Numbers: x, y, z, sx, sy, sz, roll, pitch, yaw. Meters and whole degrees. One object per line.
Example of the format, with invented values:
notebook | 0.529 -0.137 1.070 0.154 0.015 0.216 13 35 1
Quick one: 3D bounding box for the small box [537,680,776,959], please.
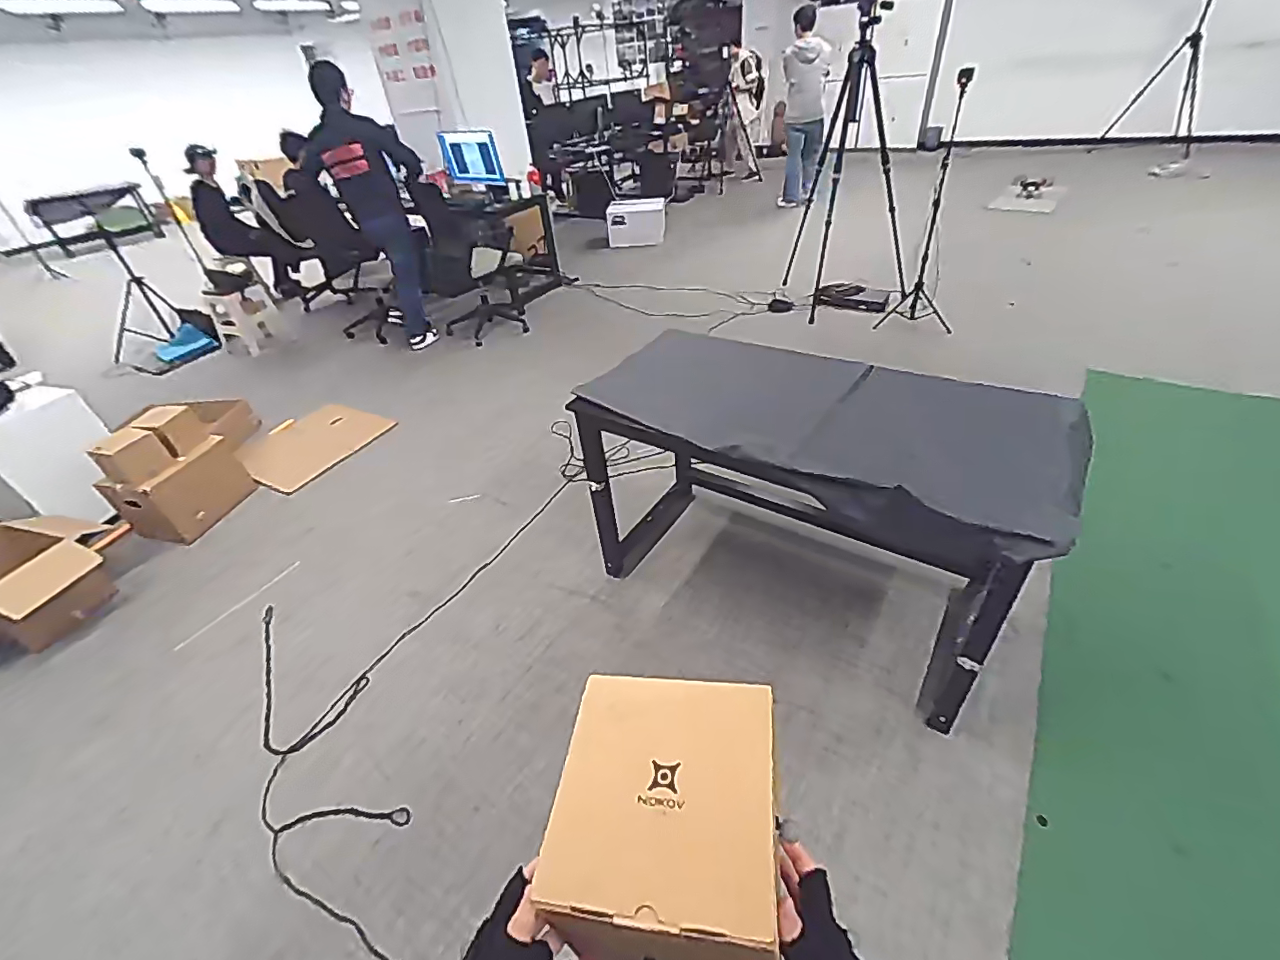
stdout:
small box | 0.032 0.303 0.472 0.168 0.176 0.179 -1 40 14
